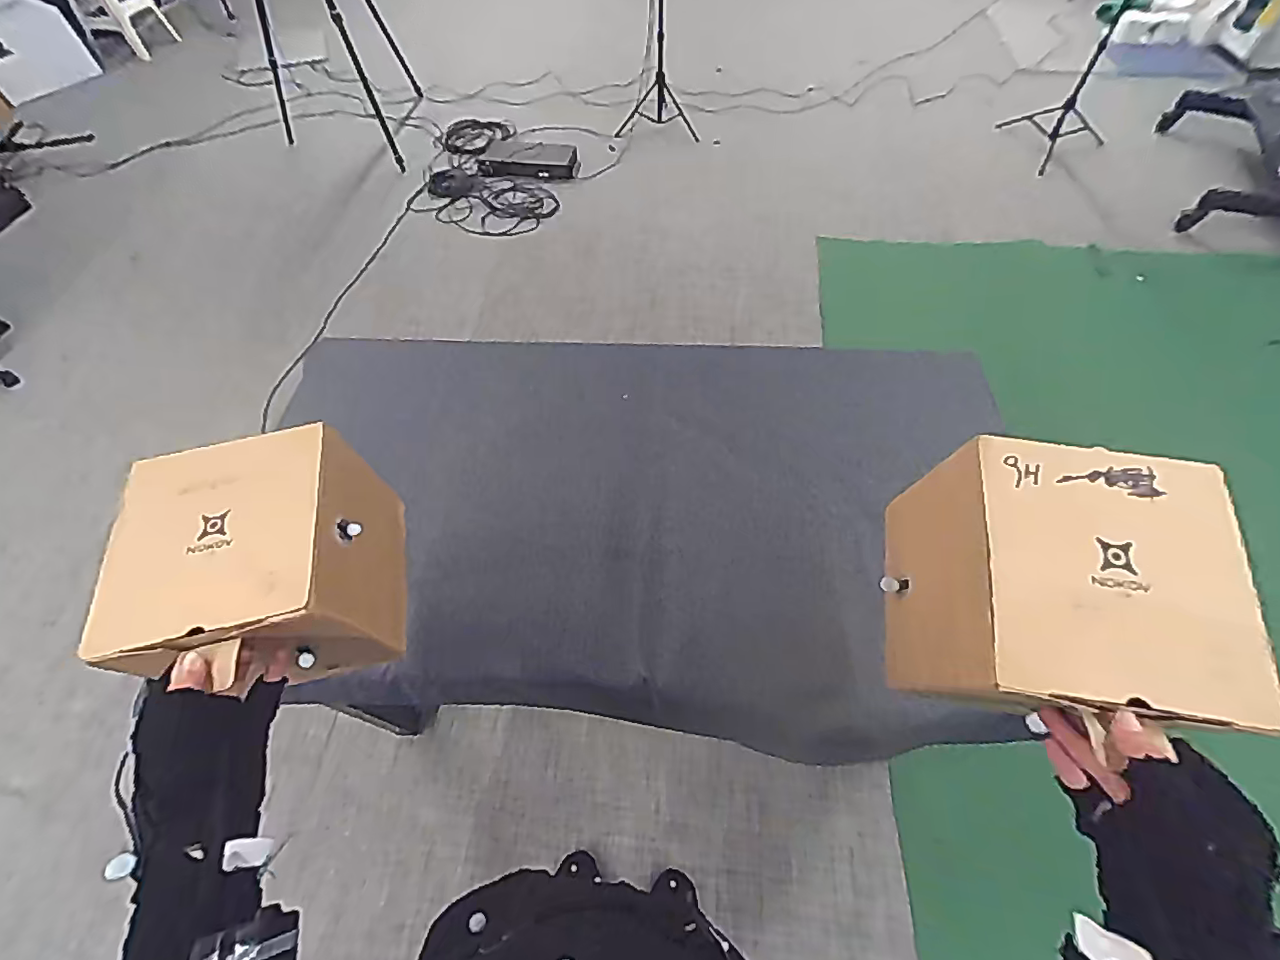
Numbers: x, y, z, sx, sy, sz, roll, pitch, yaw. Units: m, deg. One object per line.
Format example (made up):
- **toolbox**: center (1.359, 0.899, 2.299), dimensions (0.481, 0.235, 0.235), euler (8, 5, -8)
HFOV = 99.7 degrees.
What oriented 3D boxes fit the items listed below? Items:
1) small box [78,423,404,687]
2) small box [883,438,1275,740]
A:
- **small box**: center (-0.331, 0.079, 0.495), dimensions (0.168, 0.176, 0.179), euler (-13, 60, -4)
- **small box**: center (0.308, 0.089, 0.427), dimensions (0.168, 0.176, 0.179), euler (8, 70, 4)
